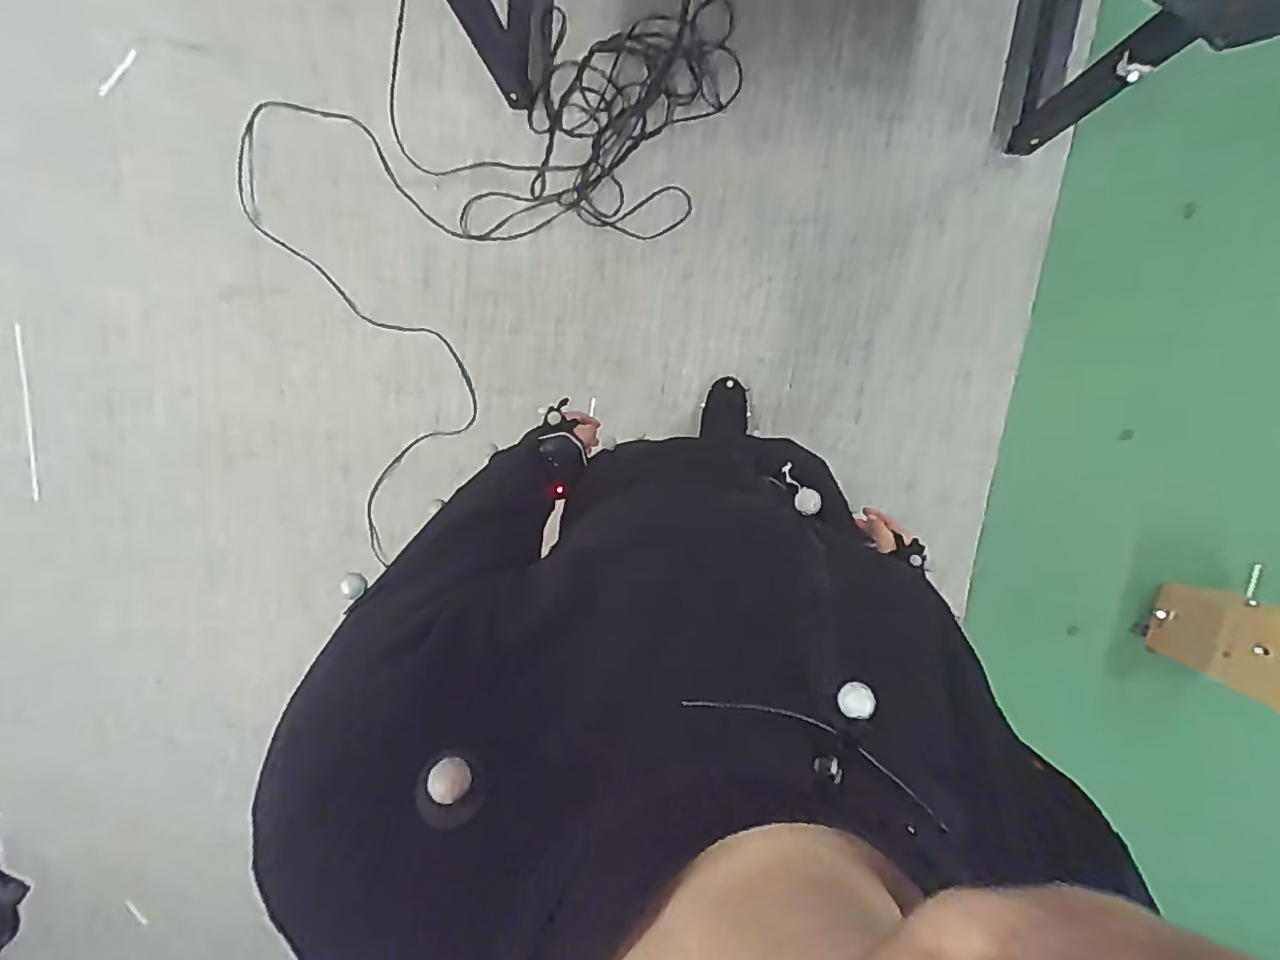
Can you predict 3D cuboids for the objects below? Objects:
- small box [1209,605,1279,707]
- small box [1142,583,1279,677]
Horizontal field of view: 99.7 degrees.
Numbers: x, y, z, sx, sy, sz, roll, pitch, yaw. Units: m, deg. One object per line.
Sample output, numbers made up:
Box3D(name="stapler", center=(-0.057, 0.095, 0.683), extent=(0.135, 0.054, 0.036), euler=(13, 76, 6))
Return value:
Box3D(name="small box", center=(1.332, 0.365, 1.096), extent=(0.179, 0.176, 0.168), euler=(5, 99, 2))
Box3D(name="small box", center=(1.345, 0.350, 1.258), extent=(0.179, 0.176, 0.168), euler=(6, 98, 3))
